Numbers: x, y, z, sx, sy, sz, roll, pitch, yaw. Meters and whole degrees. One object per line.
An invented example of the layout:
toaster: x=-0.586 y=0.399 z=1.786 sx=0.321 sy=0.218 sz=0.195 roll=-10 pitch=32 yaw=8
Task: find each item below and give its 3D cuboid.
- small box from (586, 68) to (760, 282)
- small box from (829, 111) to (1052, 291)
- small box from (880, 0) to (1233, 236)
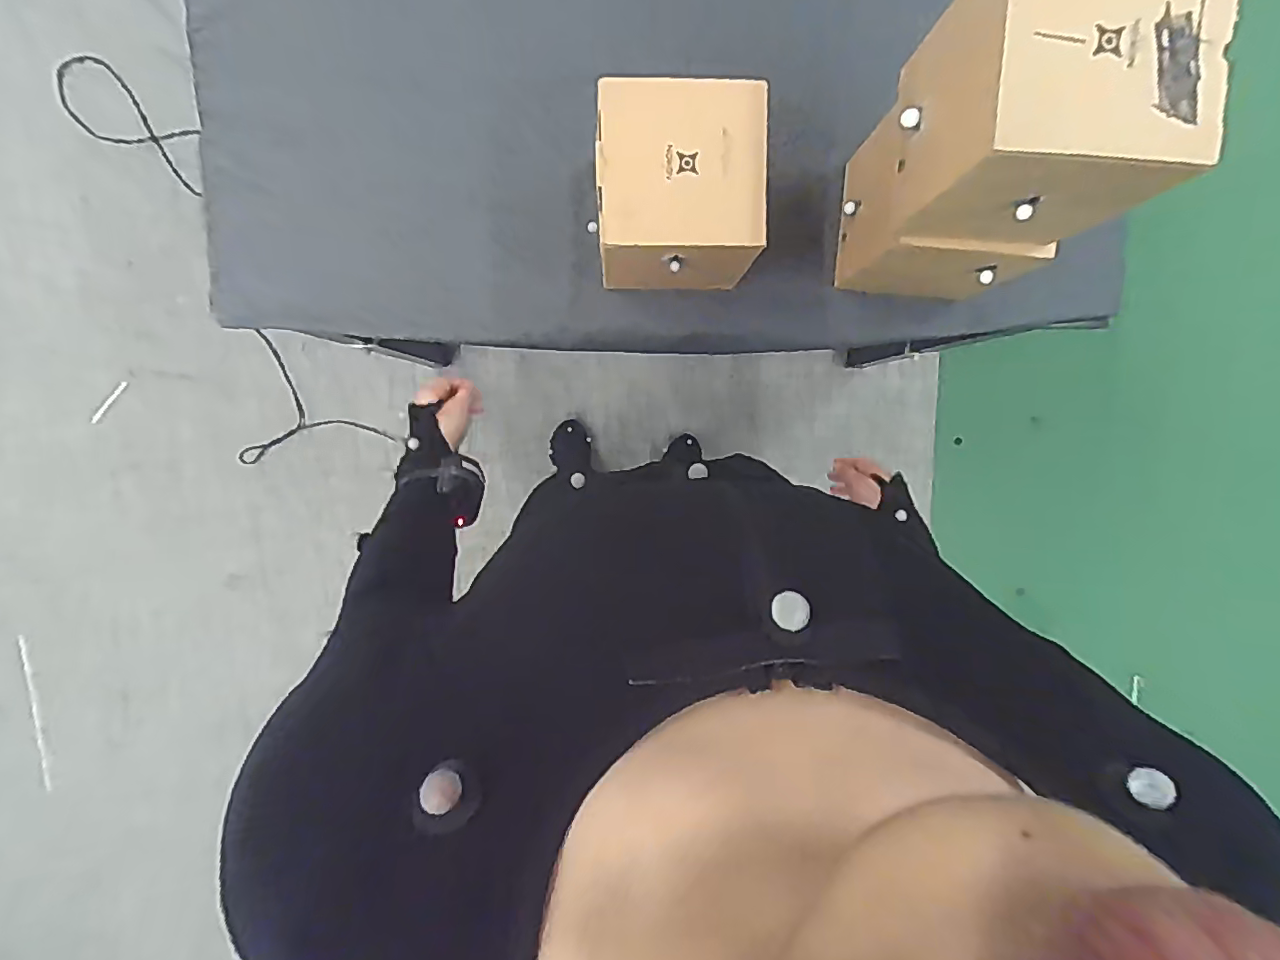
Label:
small box: x=0.031 y=-0.334 z=0.625 sx=0.179 sy=0.176 sz=0.168 roll=-1 pitch=96 yaw=-3
small box: x=0.346 y=-0.330 z=0.635 sx=0.179 sy=0.176 sz=0.168 roll=5 pitch=94 yaw=-3
small box: x=0.340 y=-0.327 z=0.471 sx=0.179 sy=0.176 sz=0.168 roll=3 pitch=95 yaw=-1
